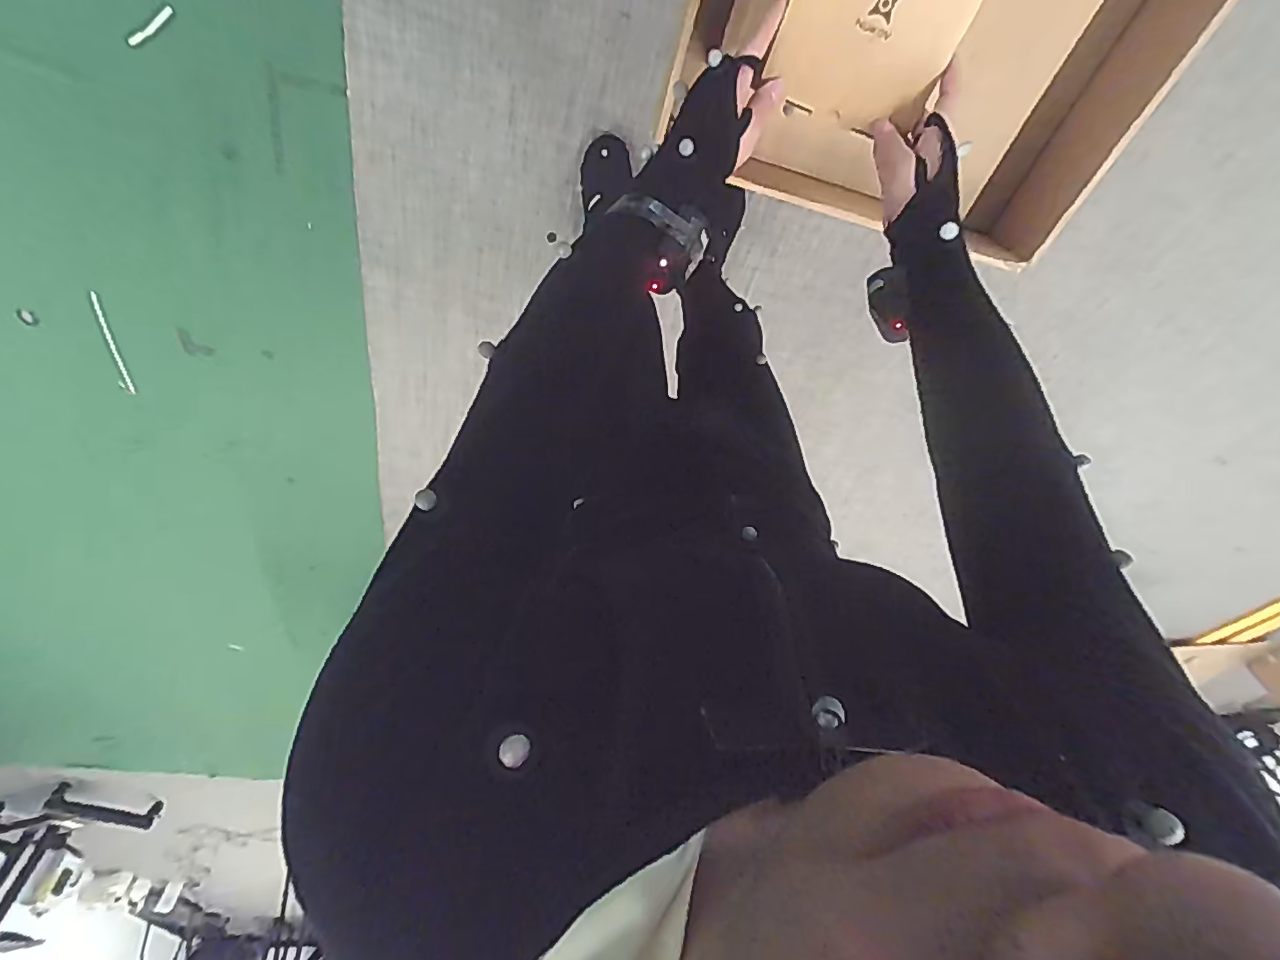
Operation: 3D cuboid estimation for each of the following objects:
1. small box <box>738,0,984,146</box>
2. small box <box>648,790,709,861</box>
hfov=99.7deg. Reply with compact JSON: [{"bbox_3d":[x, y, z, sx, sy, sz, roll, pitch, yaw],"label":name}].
[{"bbox_3d":[0.211,-0.470,0.536,0.168,0.176,0.179,12,130,-13],"label":"small box"},{"bbox_3d":[0.128,1.208,1.888,0.168,0.176,0.179,9,132,-11],"label":"small box"}]
